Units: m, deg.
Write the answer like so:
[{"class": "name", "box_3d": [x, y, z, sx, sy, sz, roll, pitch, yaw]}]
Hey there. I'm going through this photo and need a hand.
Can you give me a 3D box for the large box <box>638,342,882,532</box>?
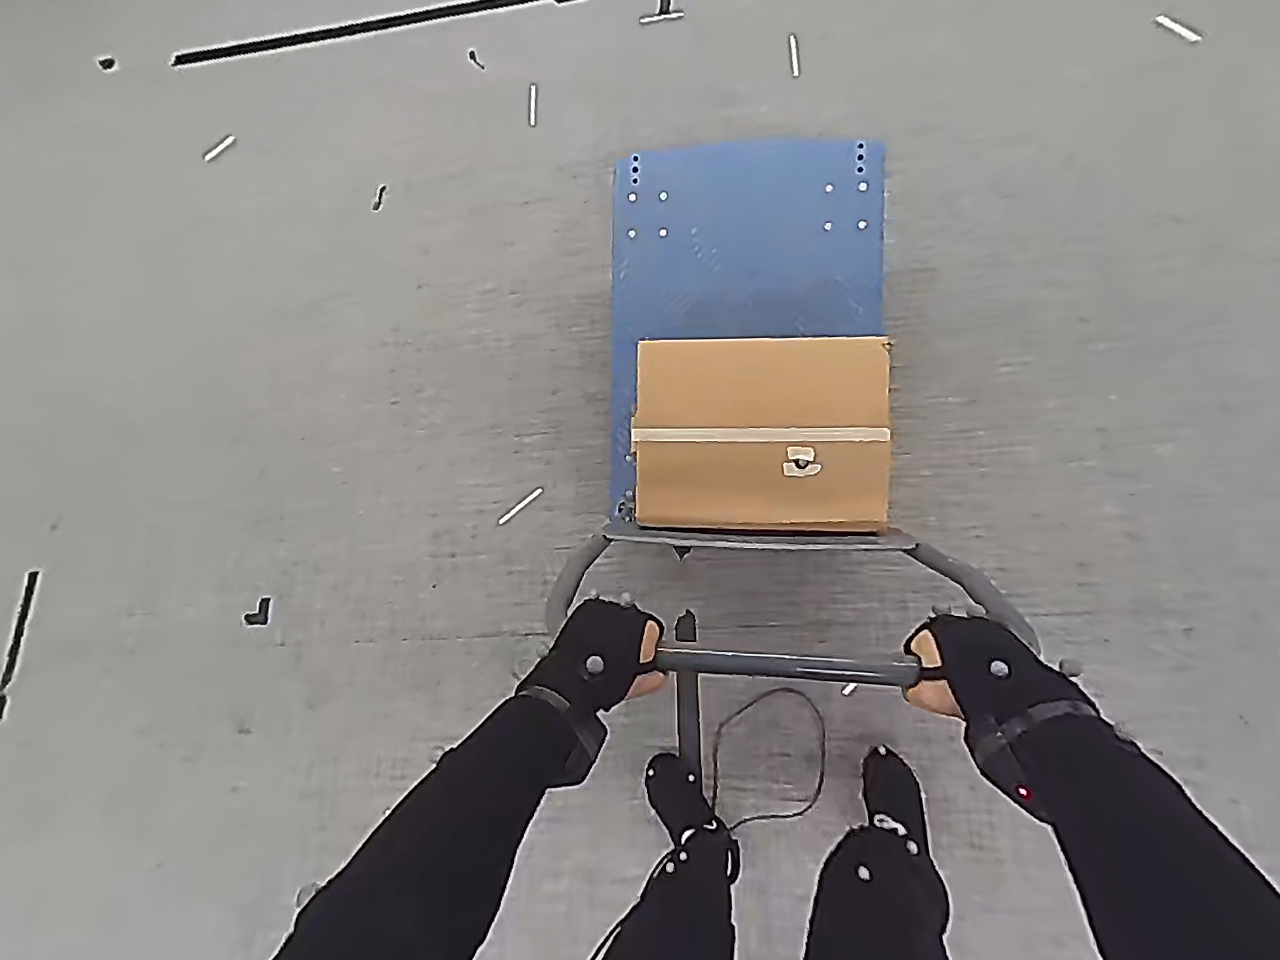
[{"class": "large box", "box_3d": [0.210, -0.070, 1.048, 0.408, 0.320, 0.320, 0, 91, 6]}]
